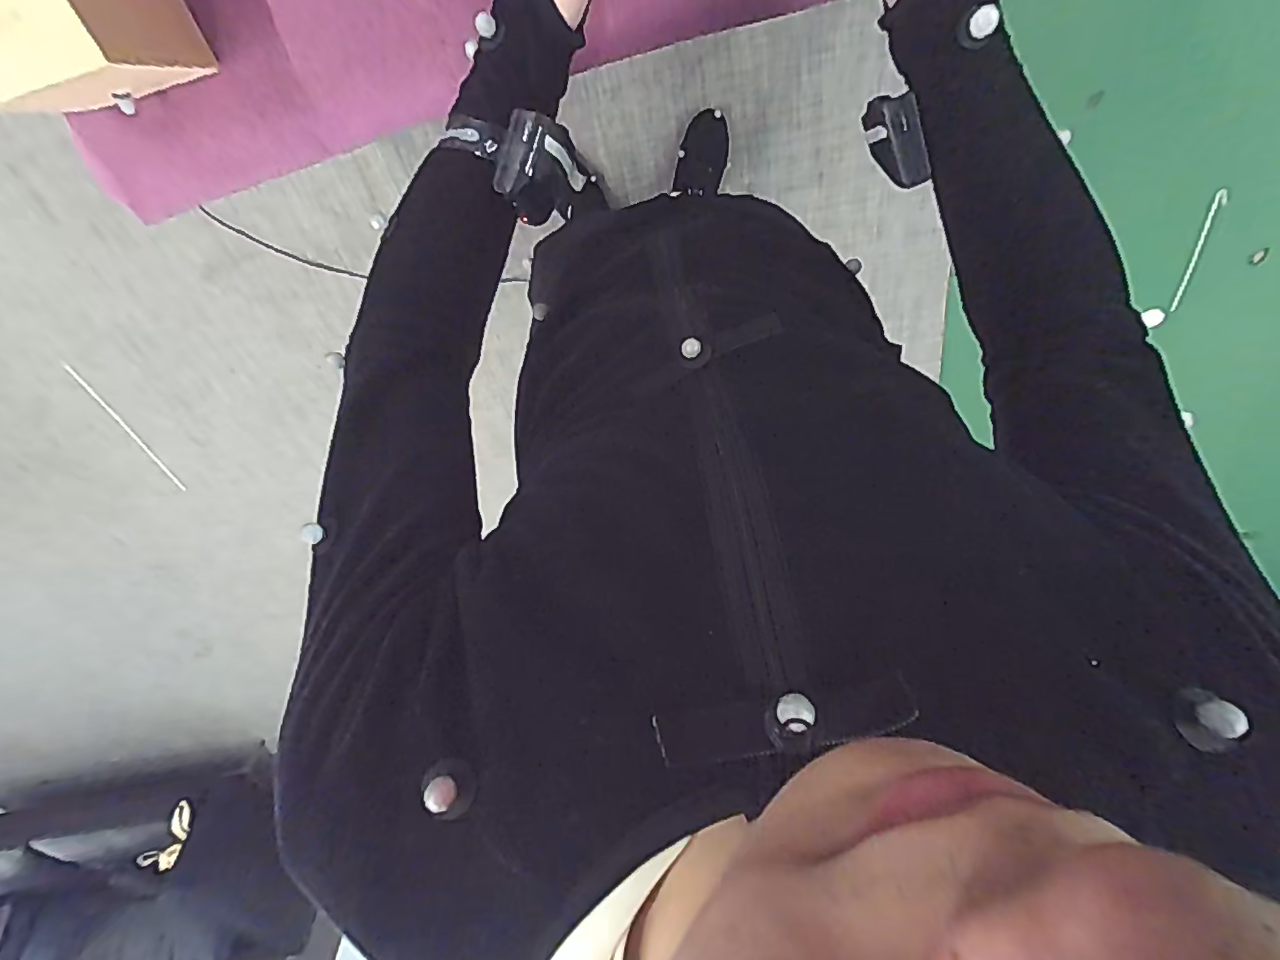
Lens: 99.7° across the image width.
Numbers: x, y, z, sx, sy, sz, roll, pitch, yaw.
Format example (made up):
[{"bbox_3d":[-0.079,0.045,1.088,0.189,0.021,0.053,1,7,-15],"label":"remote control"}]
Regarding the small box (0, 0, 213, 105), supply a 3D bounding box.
[{"bbox_3d":[-0.566,-0.468,0.501,0.168,0.176,0.179,-11,126,7],"label":"small box"}]
